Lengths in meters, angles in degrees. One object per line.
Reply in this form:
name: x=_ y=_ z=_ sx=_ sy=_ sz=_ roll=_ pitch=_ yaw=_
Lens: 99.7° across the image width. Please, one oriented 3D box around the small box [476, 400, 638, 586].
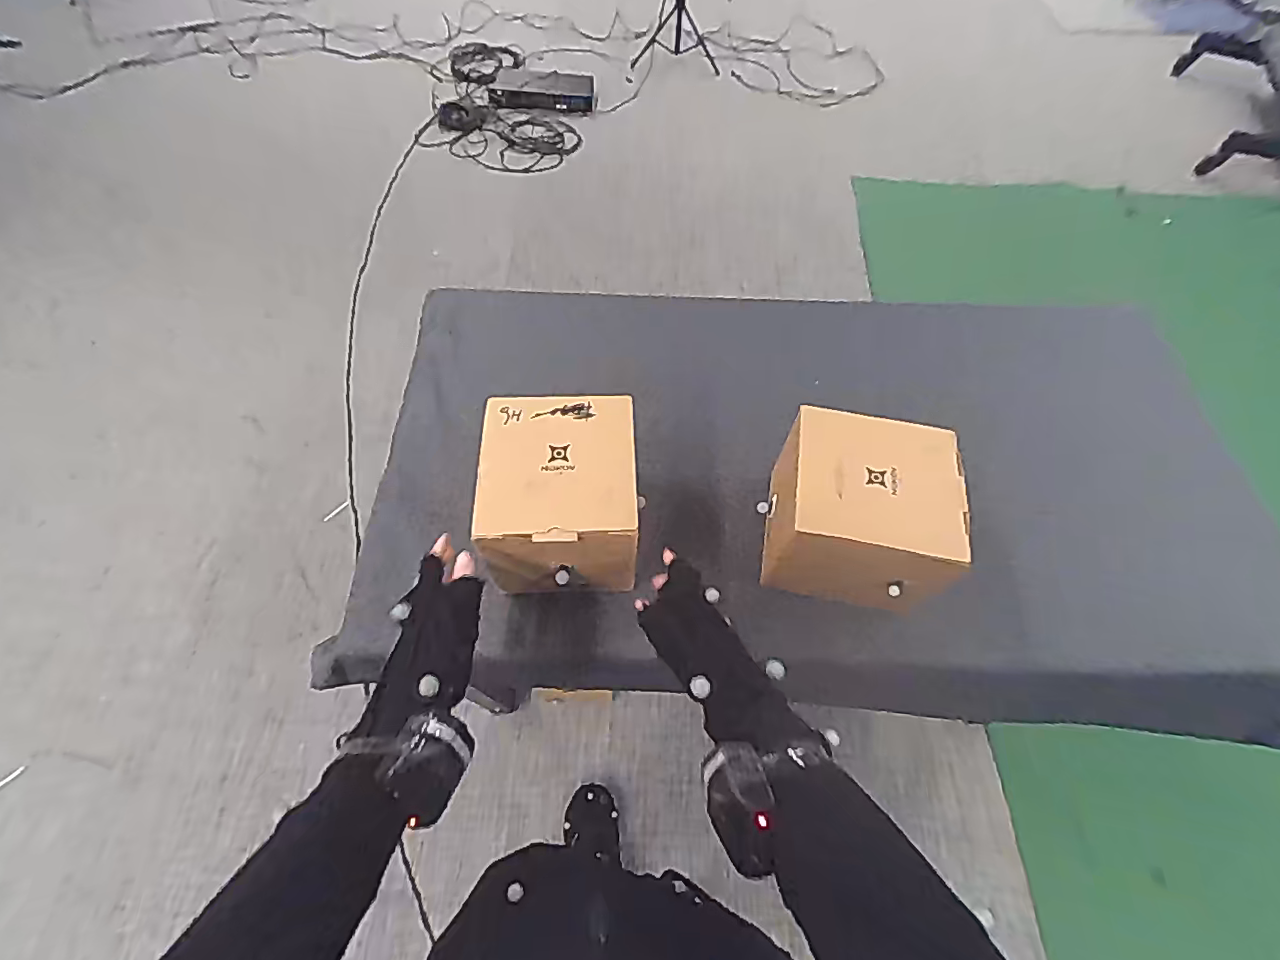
small box: x=-0.086 y=0.024 z=0.647 sx=0.168 sy=0.176 sz=0.179 roll=-1 pitch=61 yaw=-3
